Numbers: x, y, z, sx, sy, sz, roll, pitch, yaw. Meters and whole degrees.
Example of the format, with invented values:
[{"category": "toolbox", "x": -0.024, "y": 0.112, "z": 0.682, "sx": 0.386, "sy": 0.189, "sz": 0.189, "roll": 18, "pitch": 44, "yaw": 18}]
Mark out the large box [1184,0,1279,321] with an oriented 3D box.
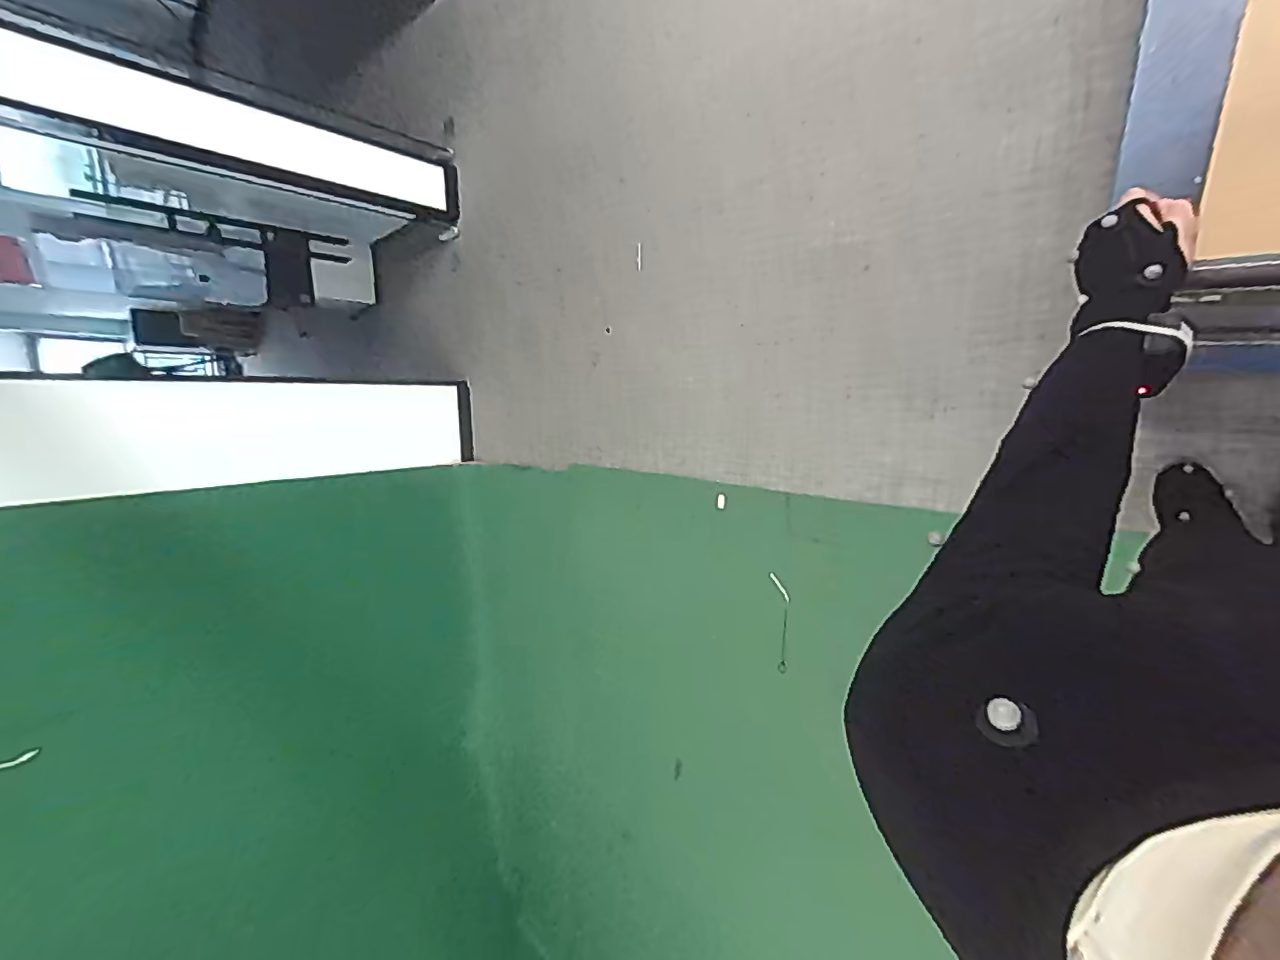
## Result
[{"category": "large box", "x": 1.033, "y": -0.461, "z": 0.773, "sx": 0.320, "sy": 0.320, "sz": 0.408, "roll": 13, "pitch": 103, "yaw": 43}]
